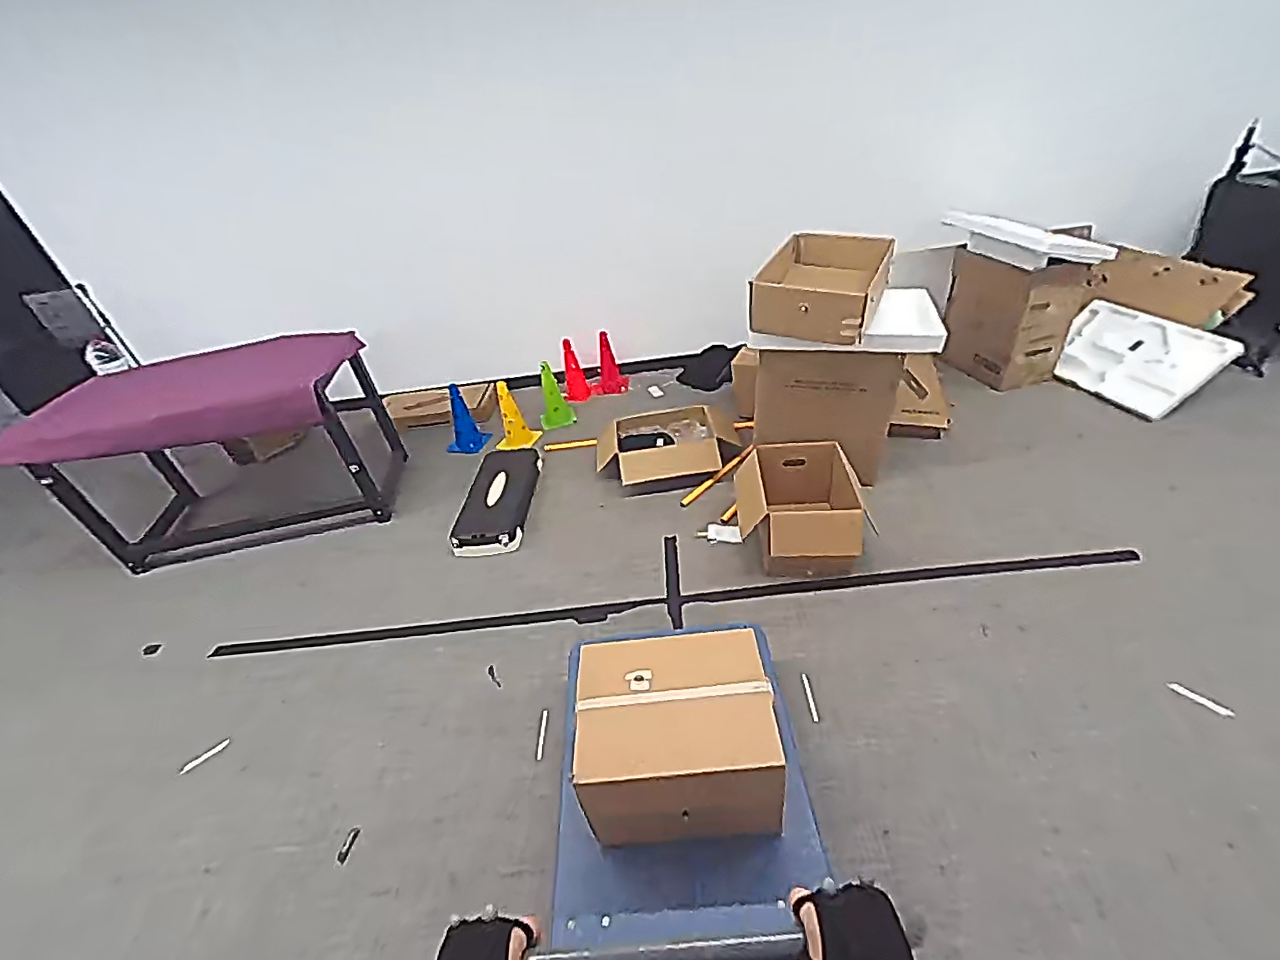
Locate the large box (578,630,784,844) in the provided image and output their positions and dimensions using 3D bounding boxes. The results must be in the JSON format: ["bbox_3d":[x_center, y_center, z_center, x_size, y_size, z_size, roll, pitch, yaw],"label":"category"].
[{"bbox_3d":[0.091,0.586,1.235,0.408,0.320,0.320,-8,36,3],"label":"large box"}]
